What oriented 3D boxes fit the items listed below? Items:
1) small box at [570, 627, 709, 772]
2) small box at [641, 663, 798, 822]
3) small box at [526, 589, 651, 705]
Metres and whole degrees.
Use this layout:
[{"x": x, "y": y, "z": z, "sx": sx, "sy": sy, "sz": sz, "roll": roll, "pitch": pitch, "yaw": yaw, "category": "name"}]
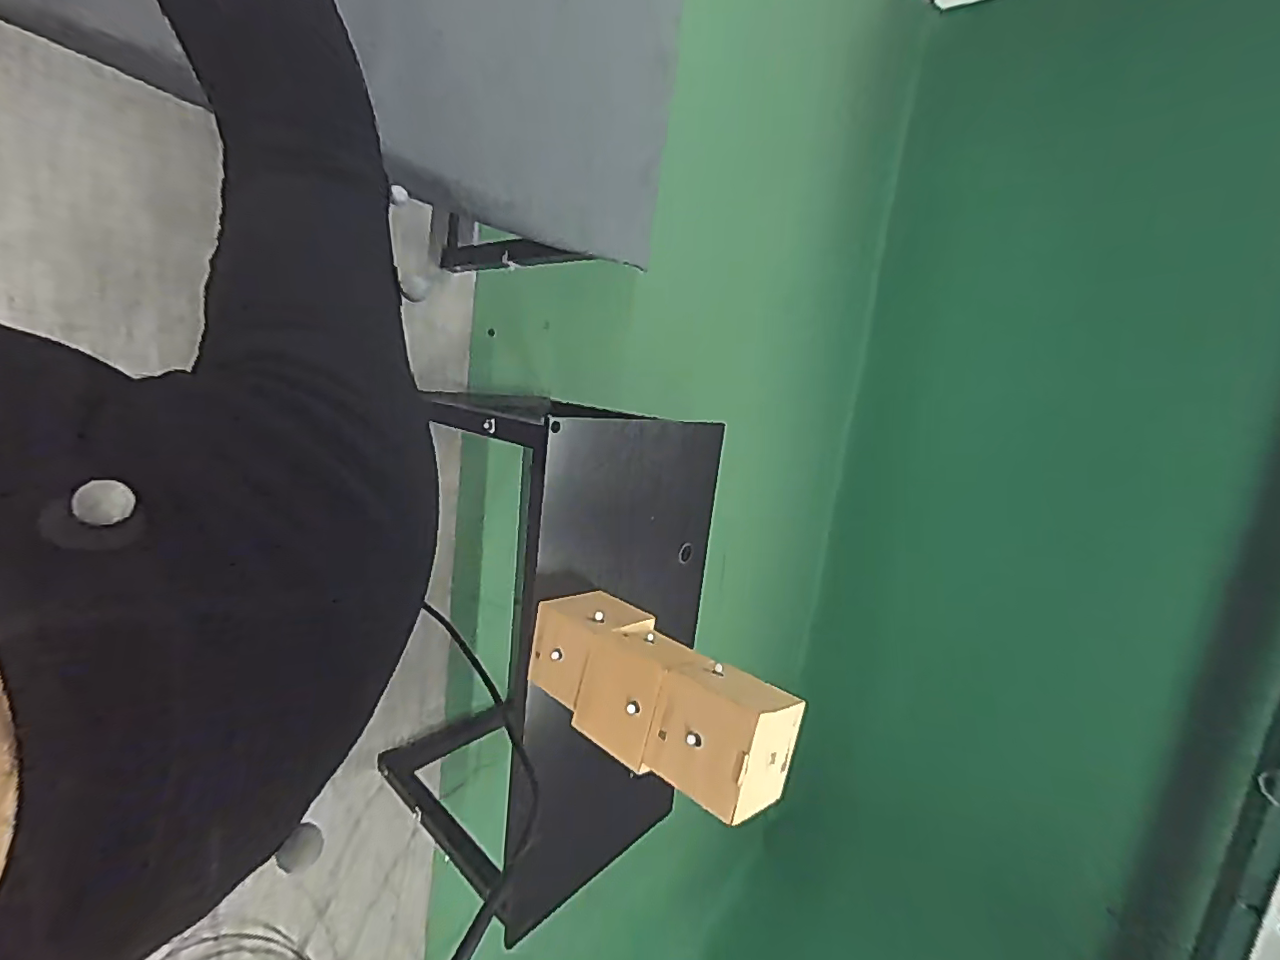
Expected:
[{"x": -0.003, "y": 0.382, "z": 0.976, "sx": 0.168, "sy": 0.176, "sz": 0.179, "roll": 14, "pitch": 91, "yaw": -50, "category": "small box"}, {"x": 0.128, "y": 0.411, "z": 0.882, "sx": 0.179, "sy": 0.176, "sz": 0.168, "roll": 19, "pitch": 87, "yaw": -49, "category": "small box"}, {"x": -0.108, "y": 0.334, "z": 1.093, "sx": 0.179, "sy": 0.176, "sz": 0.168, "roll": 2, "pitch": 102, "yaw": -50, "category": "small box"}]
